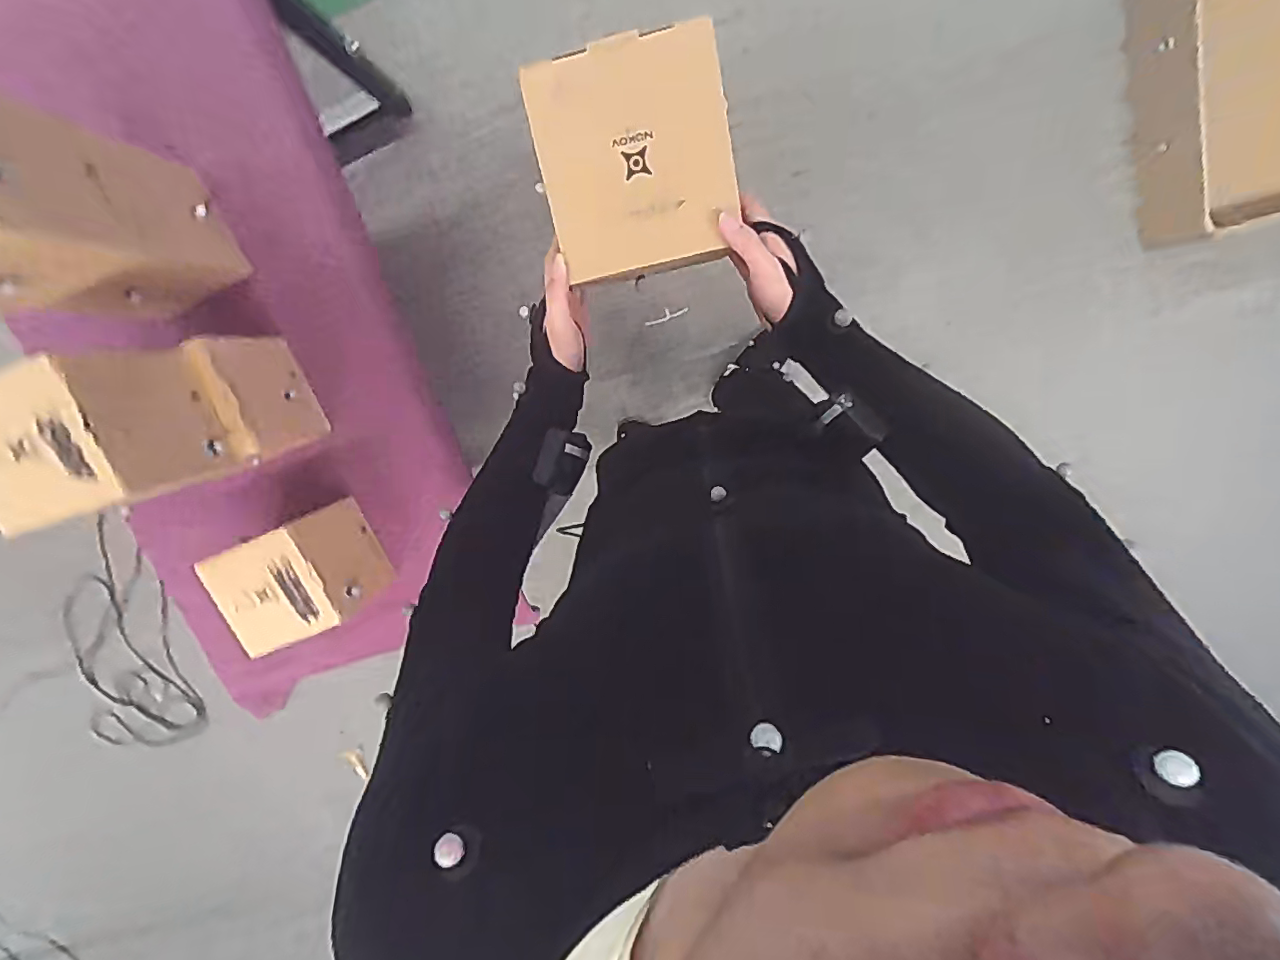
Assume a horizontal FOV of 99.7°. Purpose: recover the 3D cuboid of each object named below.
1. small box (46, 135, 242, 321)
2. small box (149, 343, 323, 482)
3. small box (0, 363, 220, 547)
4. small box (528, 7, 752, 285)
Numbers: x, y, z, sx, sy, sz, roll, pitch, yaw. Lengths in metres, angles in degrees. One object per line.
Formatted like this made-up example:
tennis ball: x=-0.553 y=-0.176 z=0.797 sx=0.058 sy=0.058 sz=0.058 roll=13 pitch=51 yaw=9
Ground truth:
small box: x=-0.731 y=-0.337 z=0.767 sx=0.179 sy=0.176 sz=0.168 roll=-23 pitch=101 yaw=8
small box: x=-0.635 y=-0.095 z=0.820 sx=0.179 sy=0.176 sz=0.168 roll=-21 pitch=101 yaw=8
small box: x=-0.671 y=-0.041 z=0.666 sx=0.179 sy=0.176 sz=0.168 roll=-17 pitch=101 yaw=8
small box: x=0.004 y=-0.300 z=0.530 sx=0.168 sy=0.176 sz=0.179 roll=-10 pitch=107 yaw=5
